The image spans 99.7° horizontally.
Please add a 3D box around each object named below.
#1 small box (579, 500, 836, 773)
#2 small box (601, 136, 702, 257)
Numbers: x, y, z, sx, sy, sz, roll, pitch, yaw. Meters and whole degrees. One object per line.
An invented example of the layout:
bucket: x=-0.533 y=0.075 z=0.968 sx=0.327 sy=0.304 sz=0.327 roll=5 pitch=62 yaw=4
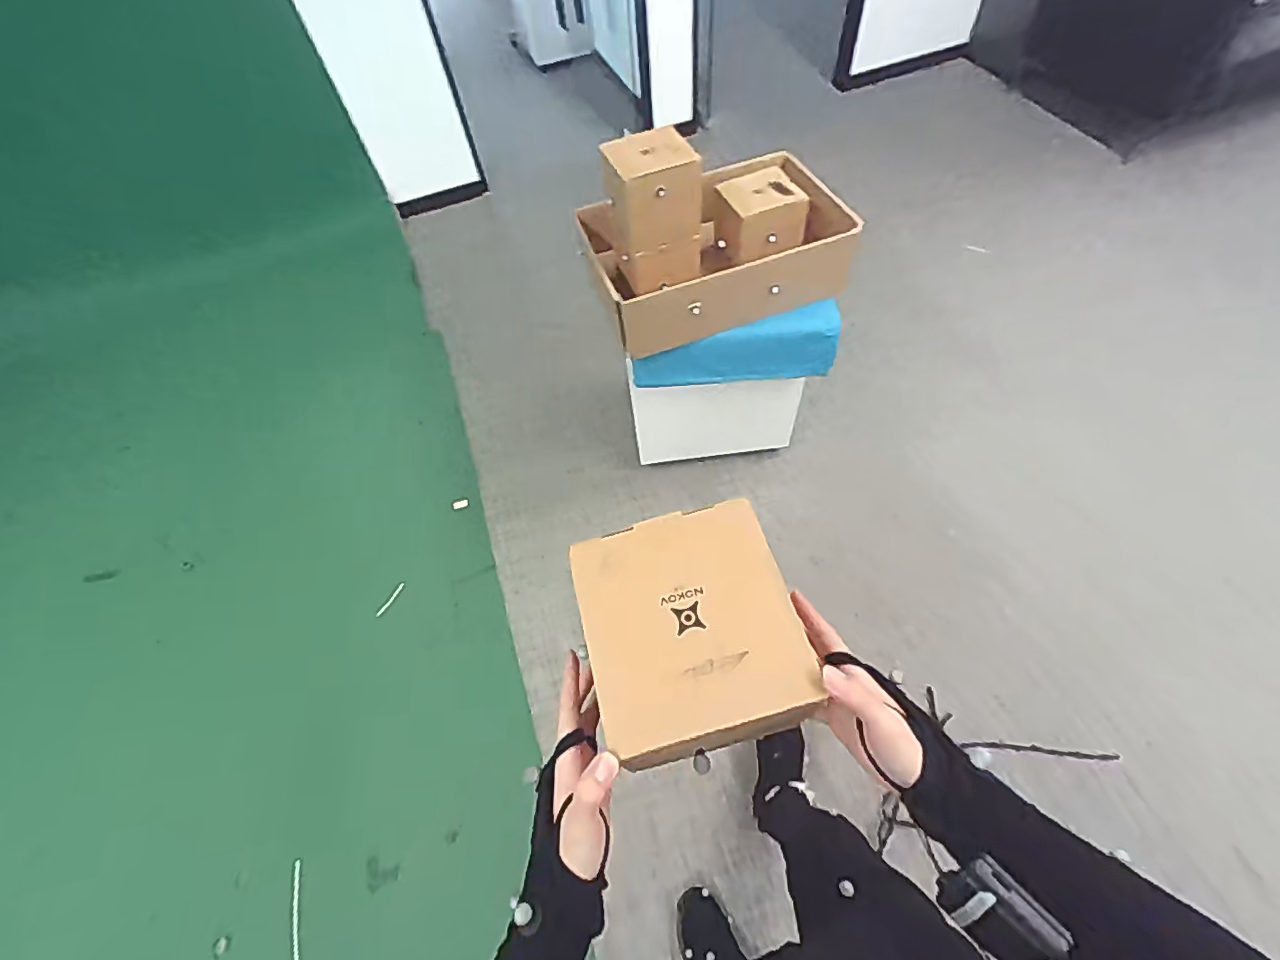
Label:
small box: x=0.050 y=0.148 z=0.492 sx=0.168 sy=0.176 sz=0.179 roll=-15 pitch=58 yaw=-2
small box: x=0.029 y=-0.630 z=1.211 sx=0.179 sy=0.176 sz=0.168 roll=-20 pitch=57 yaw=-8
